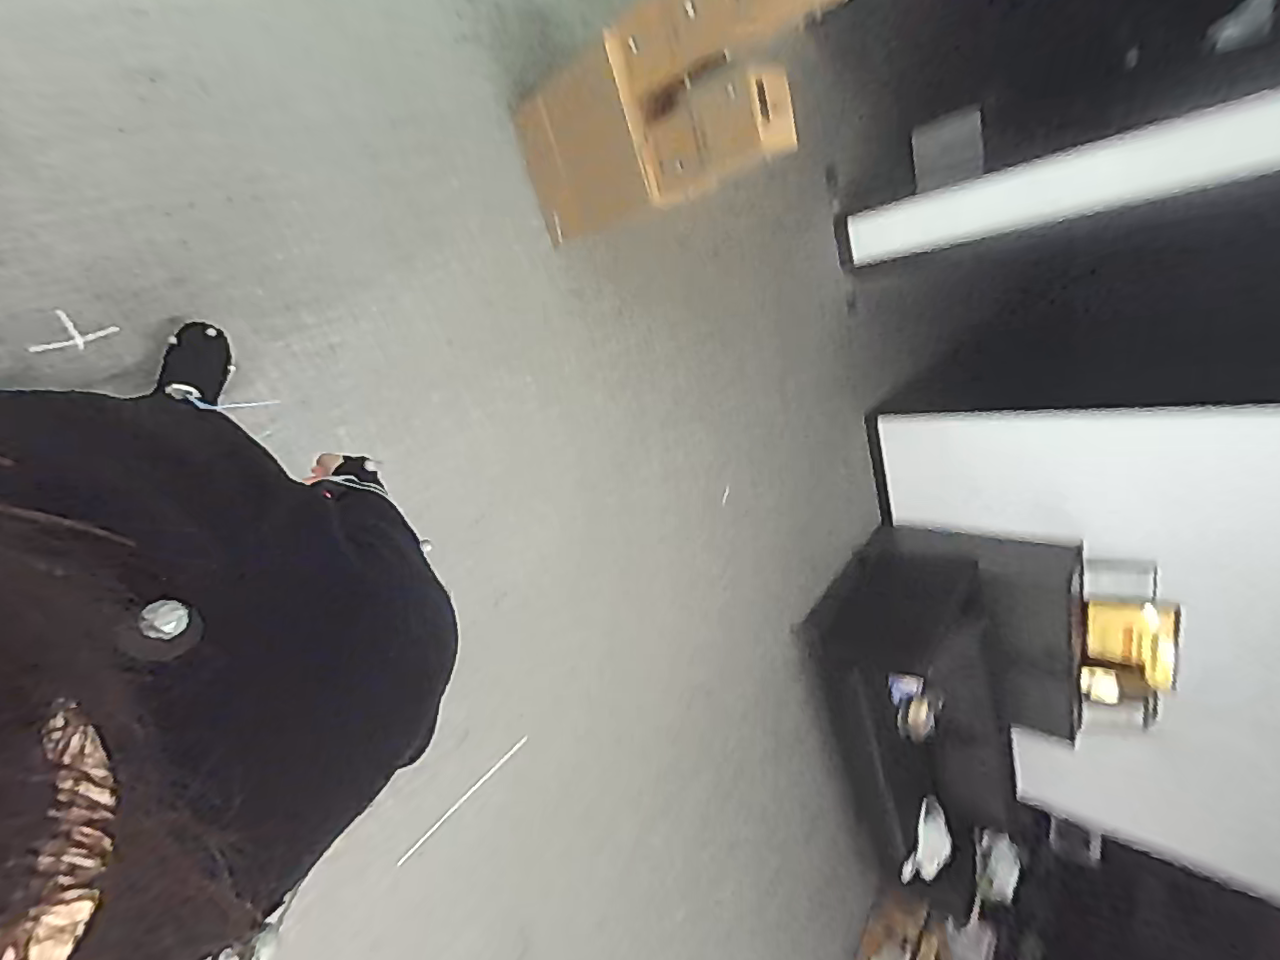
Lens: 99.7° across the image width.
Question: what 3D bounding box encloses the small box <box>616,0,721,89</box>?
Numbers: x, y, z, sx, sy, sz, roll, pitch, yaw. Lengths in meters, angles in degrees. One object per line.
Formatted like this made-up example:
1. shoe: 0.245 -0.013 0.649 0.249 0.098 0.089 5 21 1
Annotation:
1. small box: 0.070 -1.099 1.338 0.179 0.176 0.168 -35 118 -34

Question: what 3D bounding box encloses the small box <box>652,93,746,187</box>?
1. small box: 0.151 -0.897 1.433 0.179 0.176 0.168 -33 115 -38
